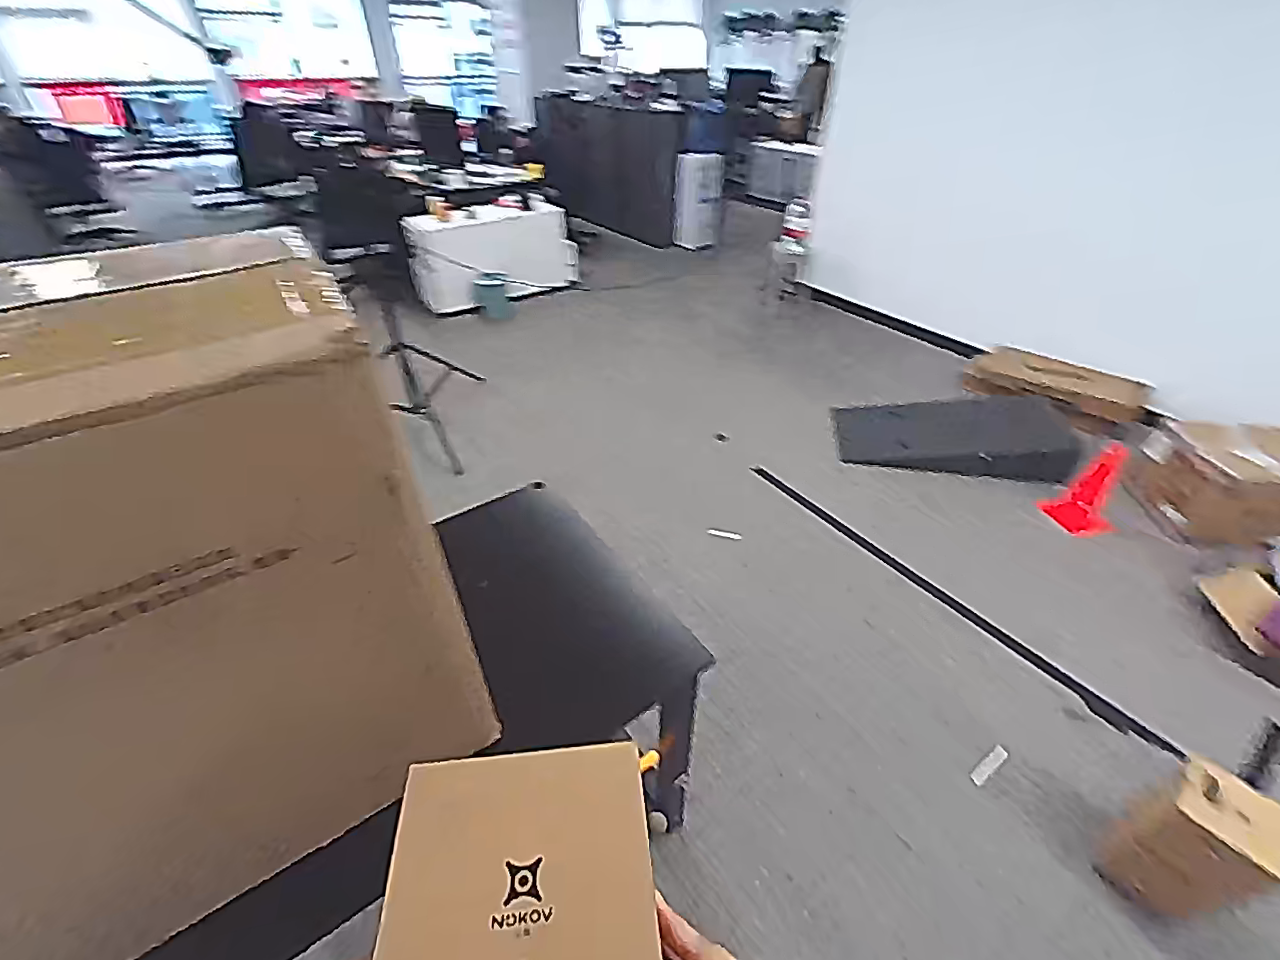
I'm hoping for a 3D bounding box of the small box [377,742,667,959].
[{"bbox_3d":[-0.072,0.313,0.379,0.168,0.176,0.179,-3,42,-5],"label":"small box"}]

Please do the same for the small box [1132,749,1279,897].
[{"bbox_3d":[1.197,0.721,1.137,0.168,0.176,0.179,-29,47,-30],"label":"small box"}]
